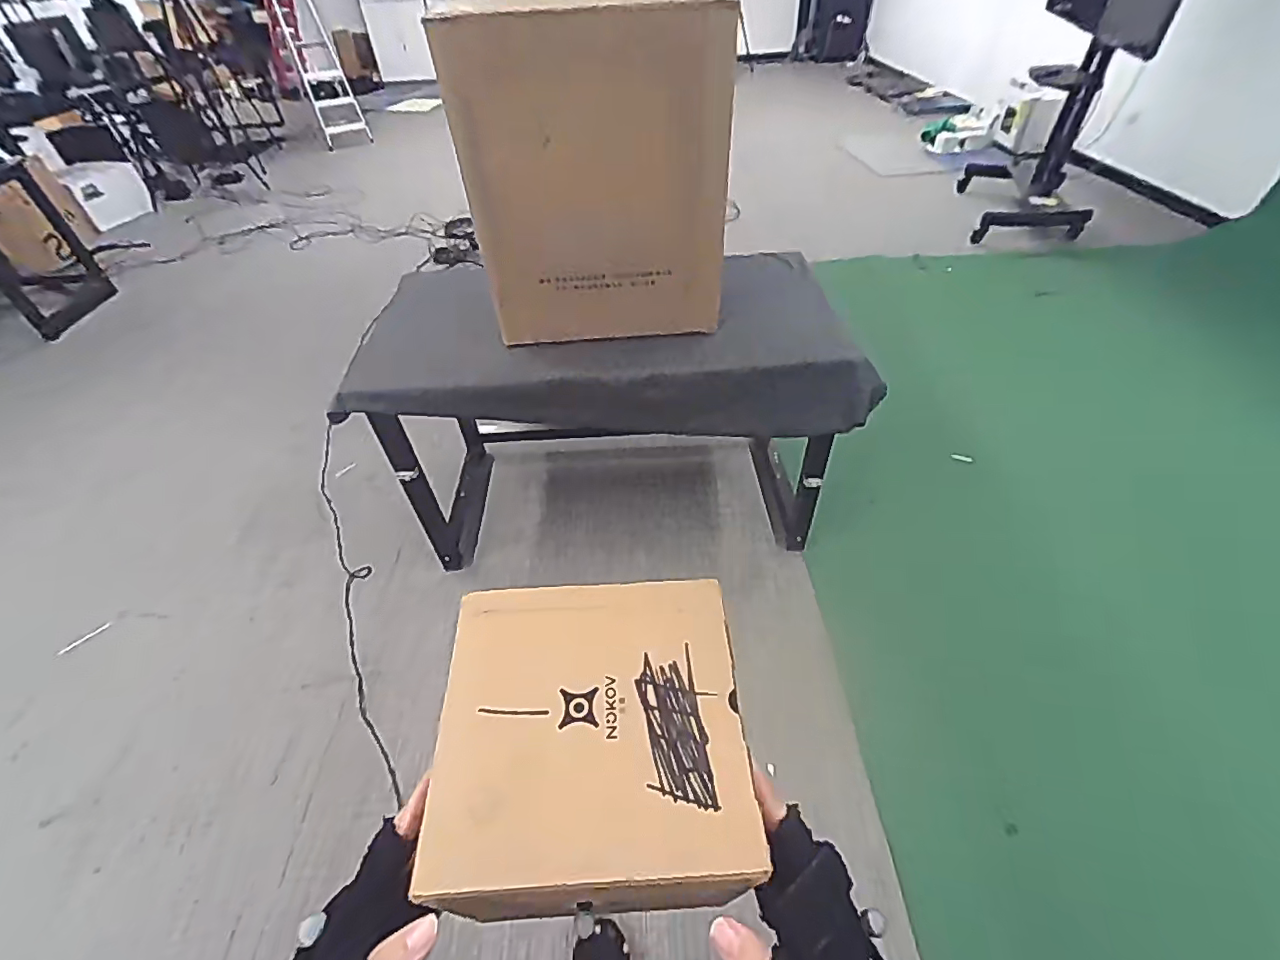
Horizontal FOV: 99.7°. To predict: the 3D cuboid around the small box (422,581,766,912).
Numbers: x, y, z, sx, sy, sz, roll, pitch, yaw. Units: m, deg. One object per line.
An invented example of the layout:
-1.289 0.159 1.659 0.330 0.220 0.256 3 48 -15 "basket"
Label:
-0.032 0.188 0.381 0.179 0.176 0.168 -3 49 -6 "small box"
